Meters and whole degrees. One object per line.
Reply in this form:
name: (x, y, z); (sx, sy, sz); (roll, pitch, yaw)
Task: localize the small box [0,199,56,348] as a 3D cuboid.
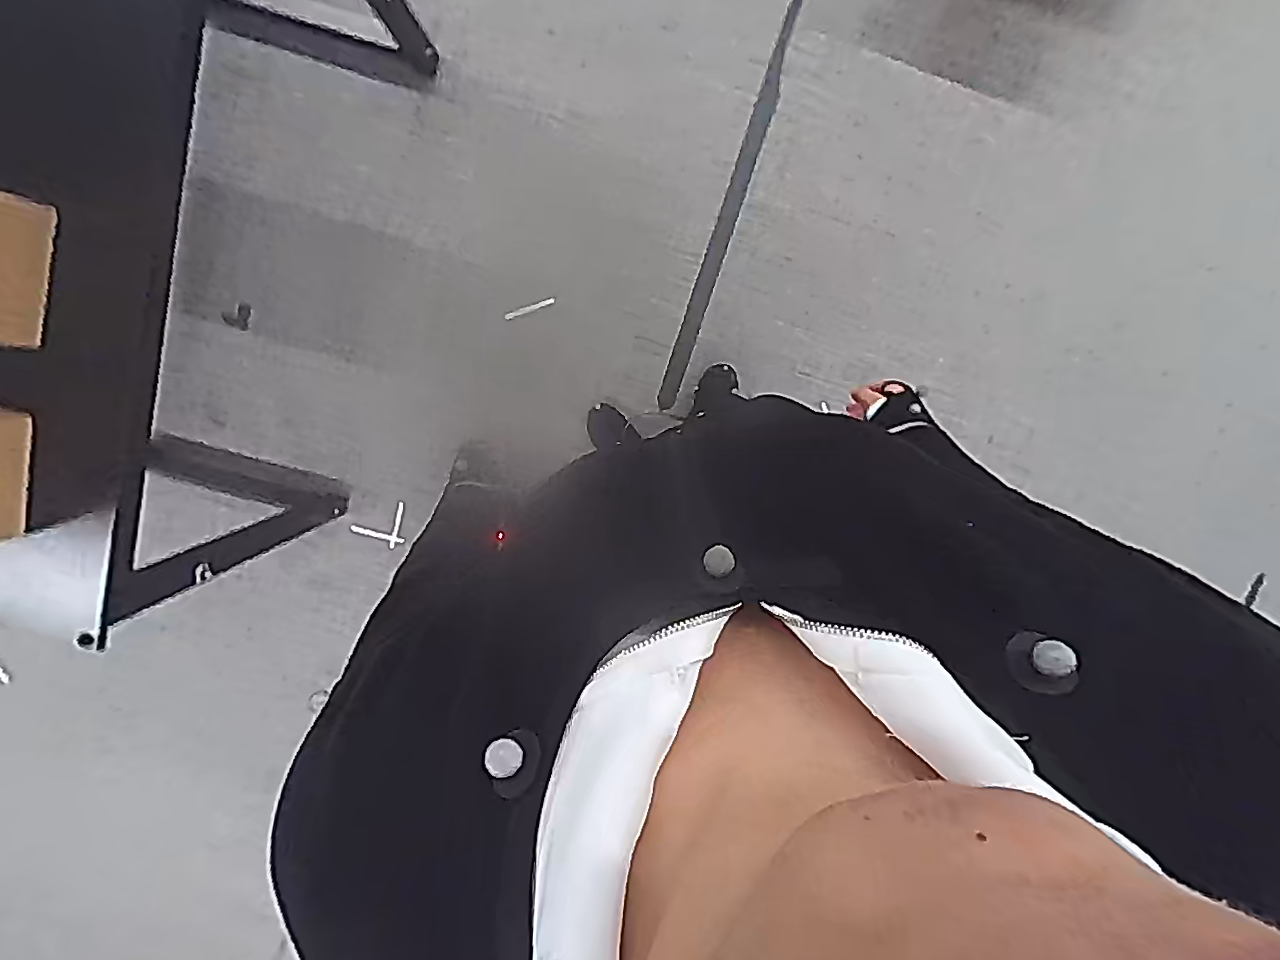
small box: (-0.834, -0.261, 0.612); (0.168, 0.176, 0.179); (18, 100, -3)

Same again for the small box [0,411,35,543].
small box: (-0.912, -0.003, 0.660); (0.168, 0.176, 0.179); (14, 100, -3)
